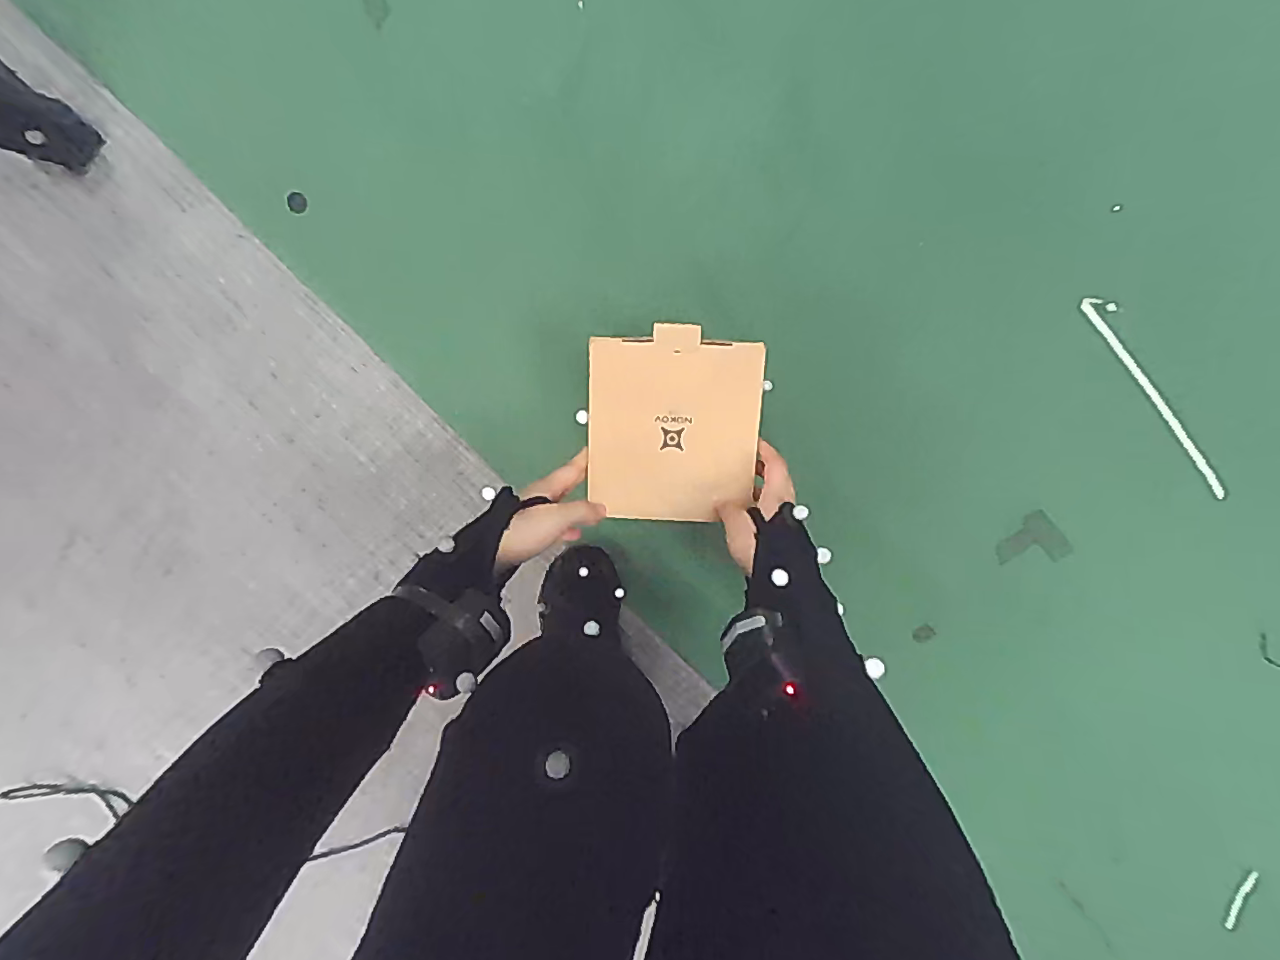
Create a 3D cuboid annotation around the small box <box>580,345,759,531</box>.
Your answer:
[{"bbox_3d":[0.029,-0.055,0.593,0.168,0.176,0.179,2,103,1],"label":"small box"}]
